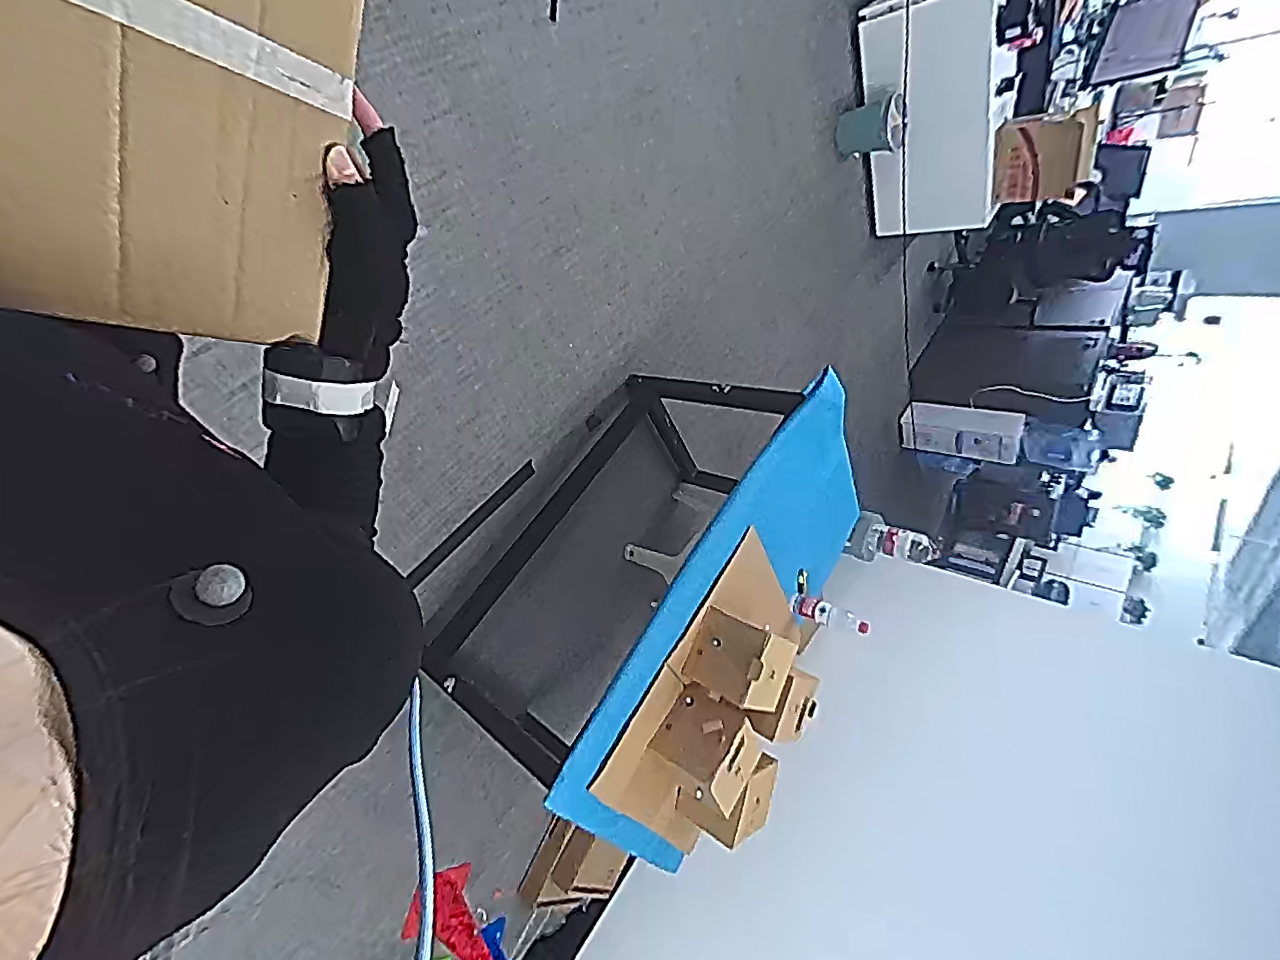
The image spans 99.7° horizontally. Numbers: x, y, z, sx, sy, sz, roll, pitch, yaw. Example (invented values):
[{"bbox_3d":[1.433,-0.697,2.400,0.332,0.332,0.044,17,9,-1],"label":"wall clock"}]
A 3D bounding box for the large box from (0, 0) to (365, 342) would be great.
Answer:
[{"bbox_3d":[-0.418,-0.296,0.285,0.408,0.320,0.320,-2,121,-47],"label":"large box"}]
